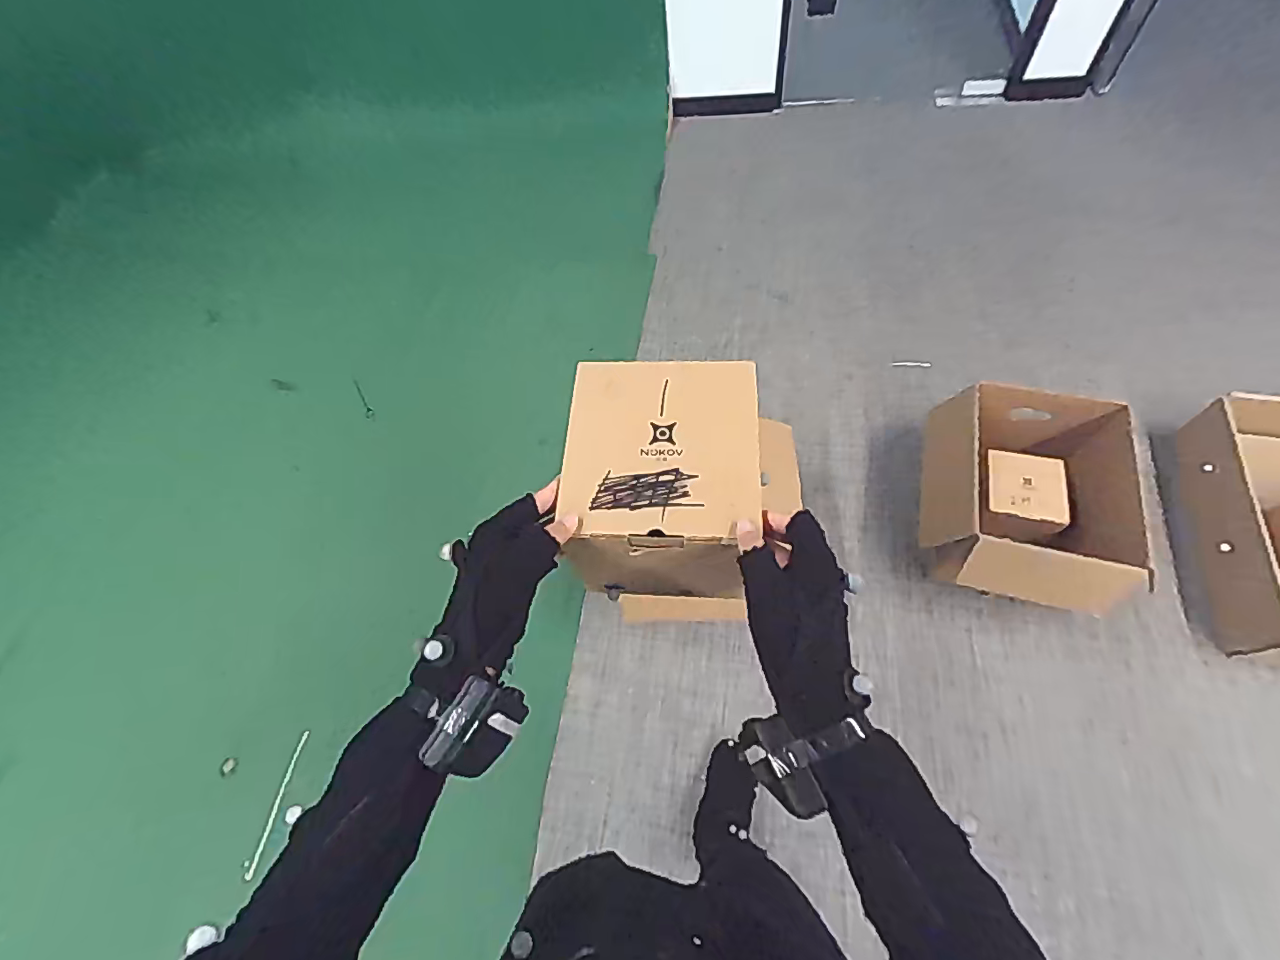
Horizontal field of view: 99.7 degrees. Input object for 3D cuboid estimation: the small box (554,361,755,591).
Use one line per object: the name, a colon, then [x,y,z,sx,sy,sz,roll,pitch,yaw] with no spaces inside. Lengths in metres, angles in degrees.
small box: [0.025,0.004,0.534,0.168,0.176,0.179,1,62,6]

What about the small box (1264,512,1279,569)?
small box: [1.555,0.137,1.185,0.168,0.176,0.179,5,62,10]
